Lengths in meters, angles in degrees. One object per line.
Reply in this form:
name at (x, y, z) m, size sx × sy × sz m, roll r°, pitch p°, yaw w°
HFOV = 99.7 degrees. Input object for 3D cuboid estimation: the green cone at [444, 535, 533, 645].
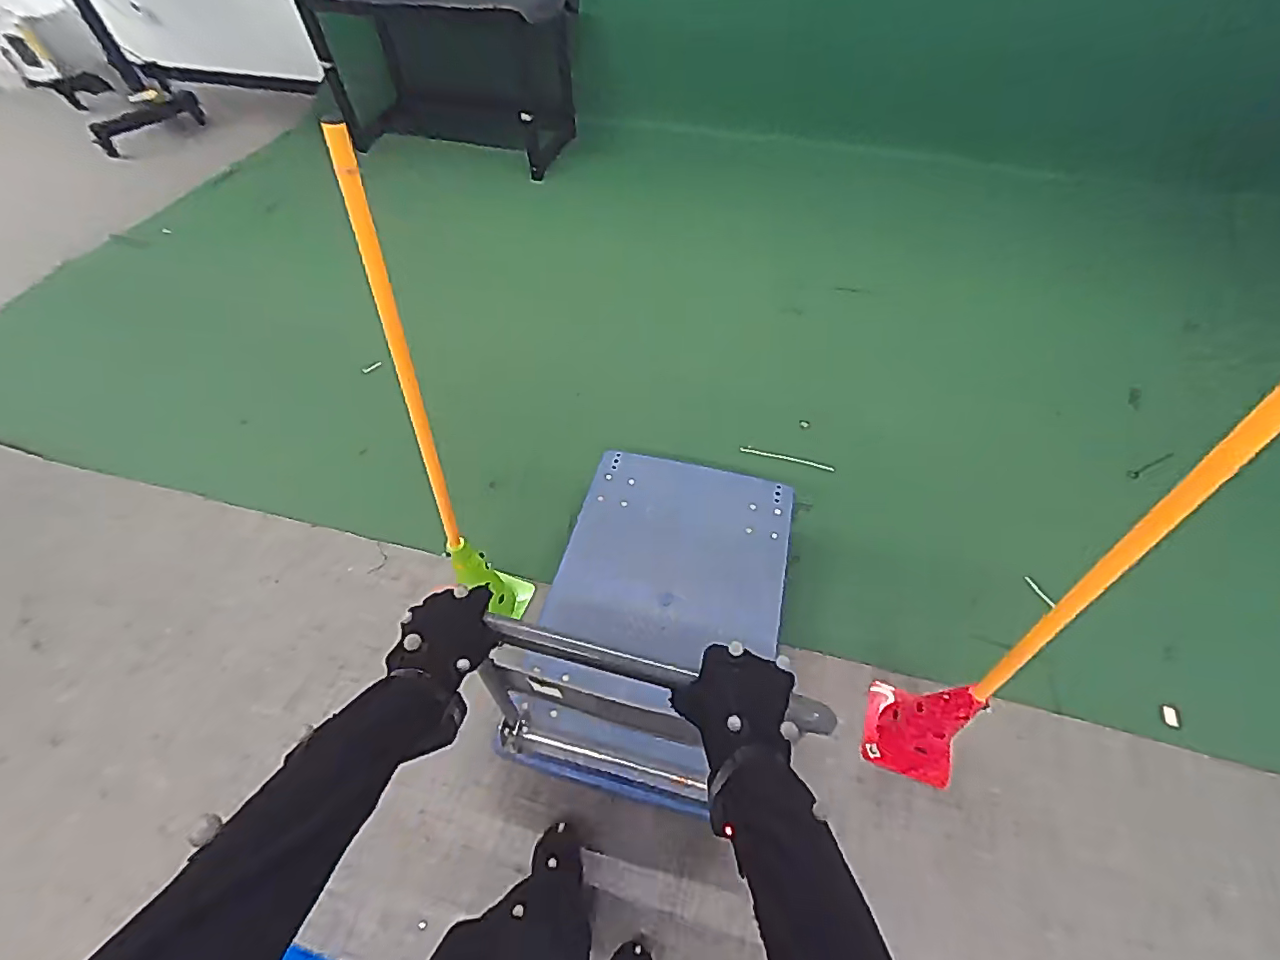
green cone at (-0.430, 0.250, 1.402) m, size 0.202 × 0.368 × 0.200 m, roll 16°, pitch 55°, yaw 13°
